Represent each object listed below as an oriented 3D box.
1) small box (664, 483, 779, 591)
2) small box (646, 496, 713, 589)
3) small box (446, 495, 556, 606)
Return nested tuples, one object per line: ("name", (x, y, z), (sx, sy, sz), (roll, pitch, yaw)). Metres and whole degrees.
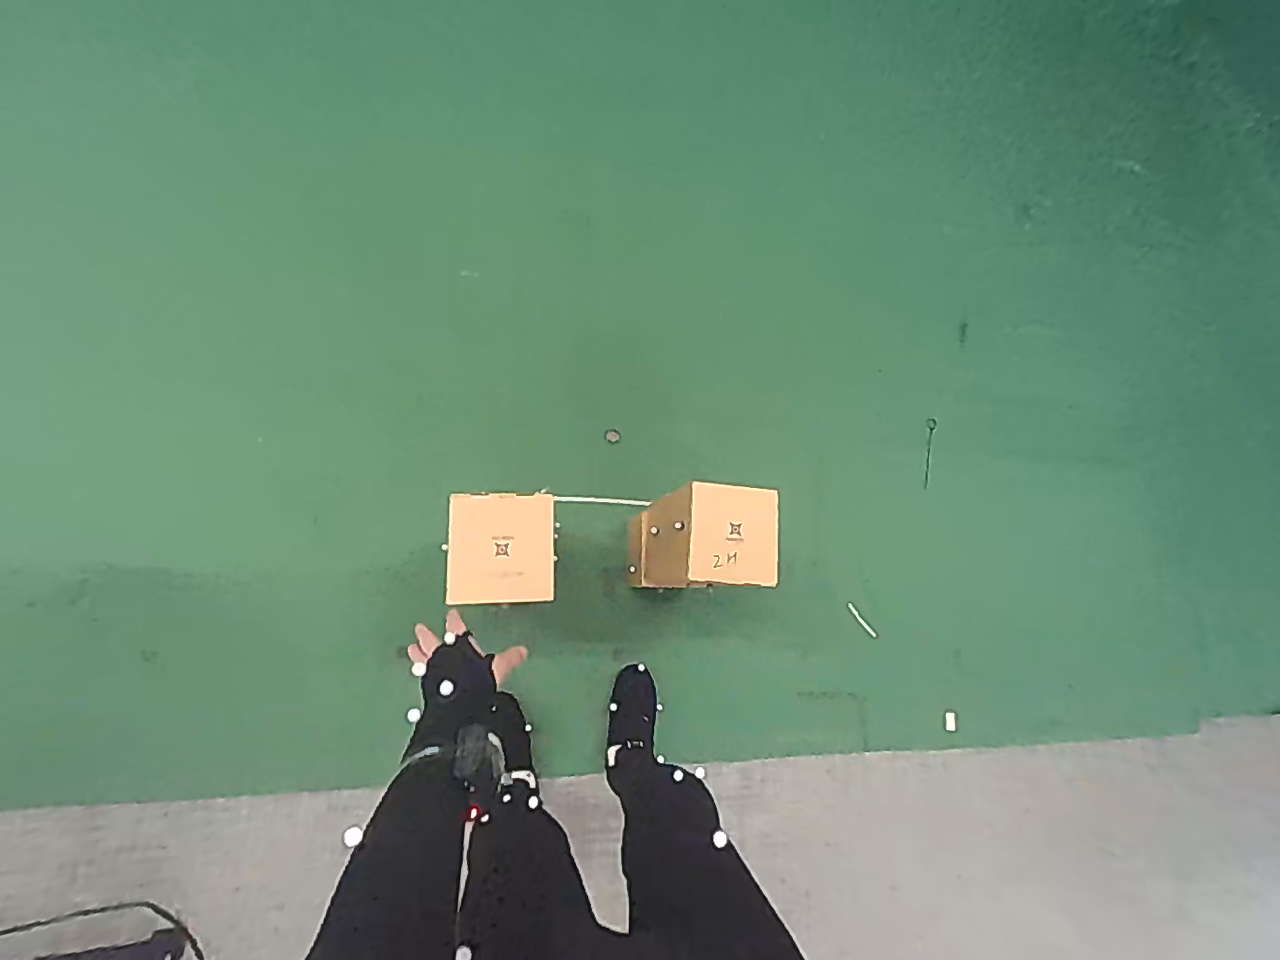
("small box", (0.148, 0.114, 1.019), (0.168, 0.176, 0.179), (7, 78, -12))
("small box", (0.113, 0.141, 1.178), (0.168, 0.176, 0.179), (7, 77, -12))
("small box", (-0.234, 0.127, 0.933), (0.168, 0.176, 0.179), (1, 78, -11))
